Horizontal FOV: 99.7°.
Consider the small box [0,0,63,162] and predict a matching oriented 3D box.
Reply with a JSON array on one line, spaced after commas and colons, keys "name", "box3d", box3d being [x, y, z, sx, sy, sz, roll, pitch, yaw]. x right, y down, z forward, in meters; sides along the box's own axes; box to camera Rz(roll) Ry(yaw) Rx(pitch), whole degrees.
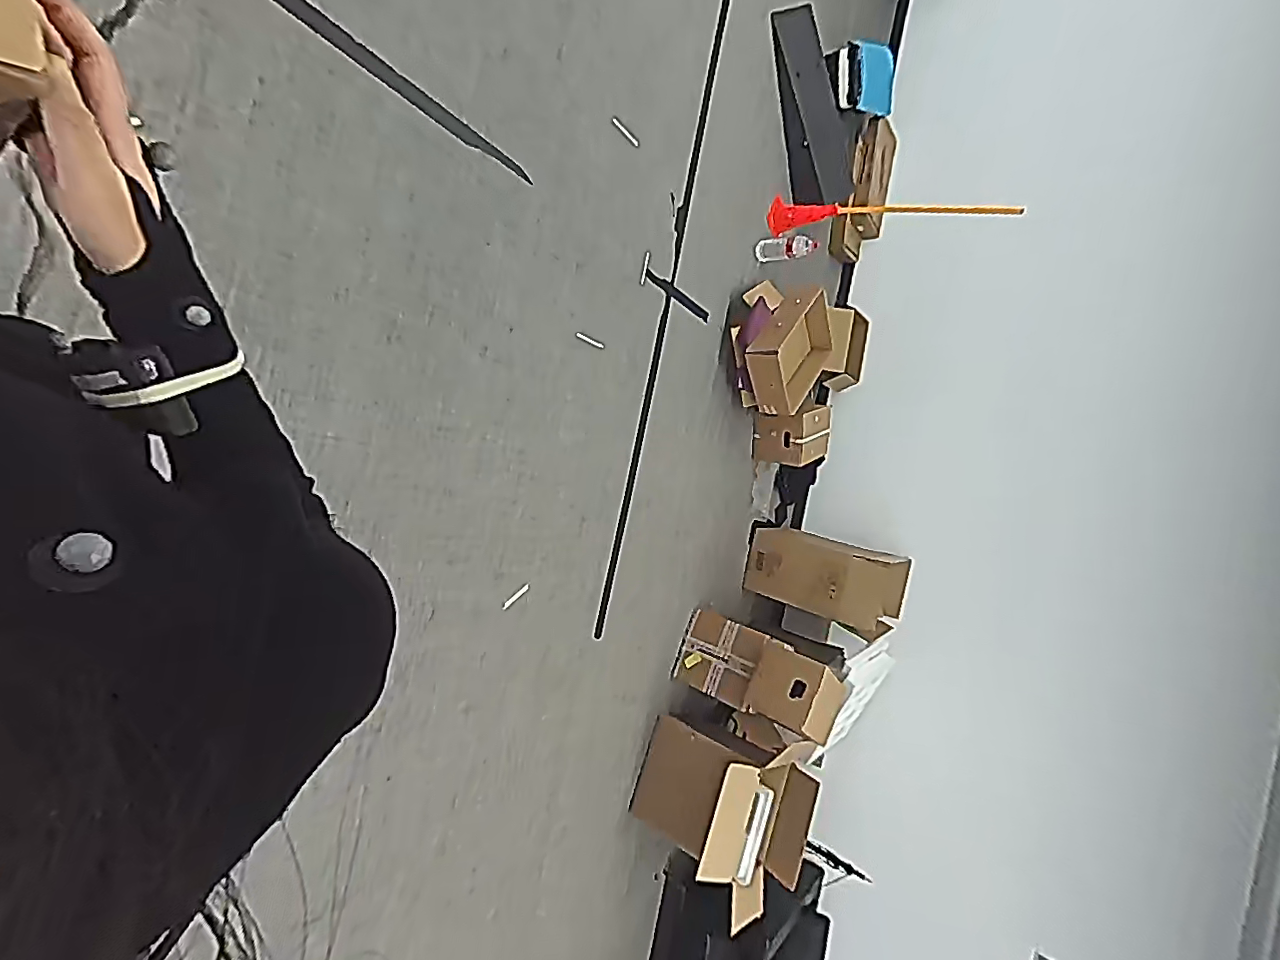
[{"name": "small box", "box3d": [-0.387, -0.256, 0.221, 0.168, 0.176, 0.179, -18, 109, -55]}]
